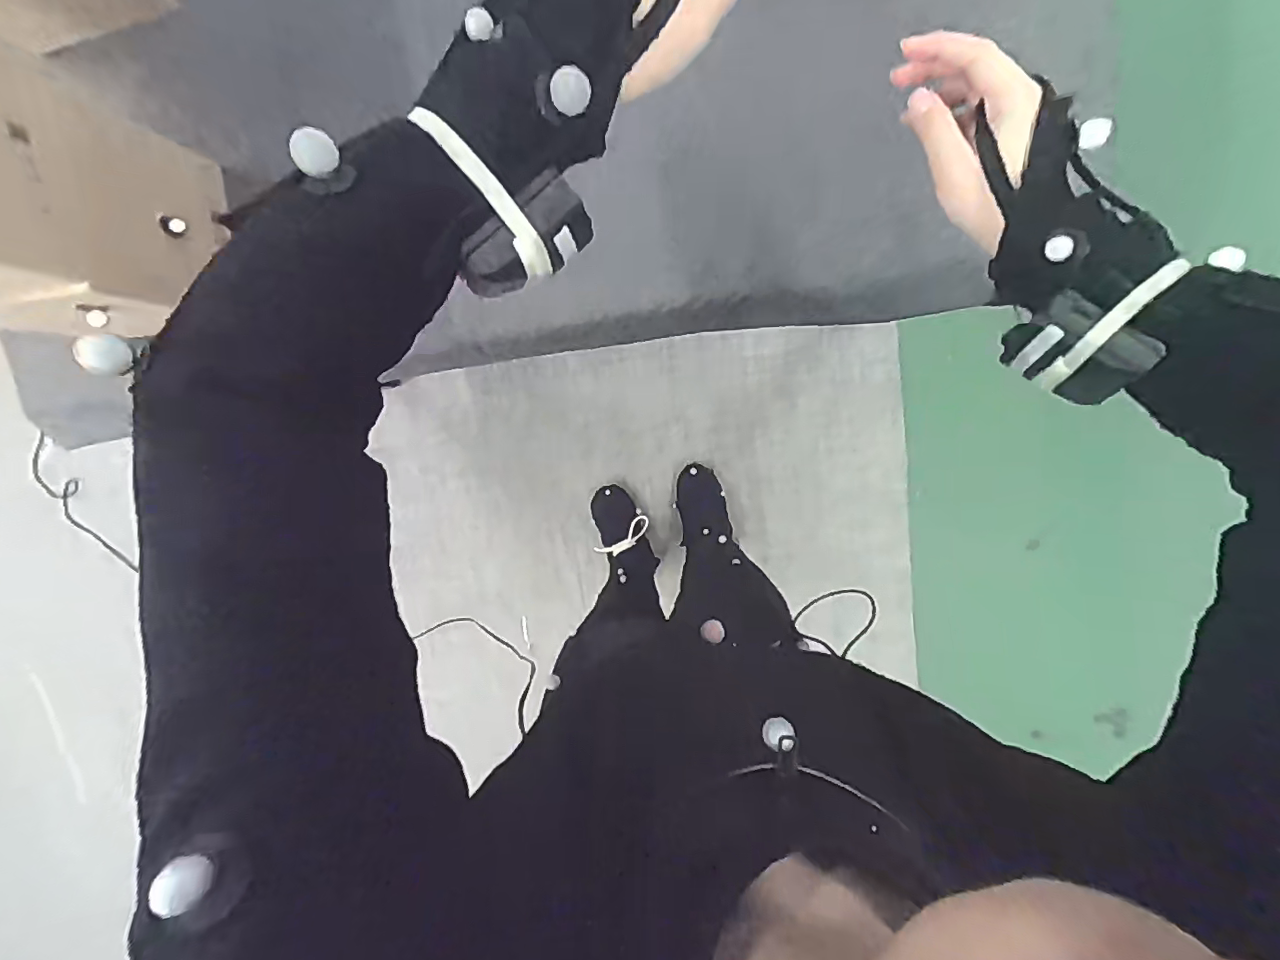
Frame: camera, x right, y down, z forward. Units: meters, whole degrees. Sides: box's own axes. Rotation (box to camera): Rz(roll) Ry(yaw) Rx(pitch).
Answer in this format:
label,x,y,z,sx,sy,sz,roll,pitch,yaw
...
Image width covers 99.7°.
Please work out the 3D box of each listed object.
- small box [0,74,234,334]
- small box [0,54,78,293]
label,x,y,z,sx,sy,sz,roll,pitch,yaw
small box,-0.531,-0.239,0.515,0.179,0.176,0.168,-5,97,6
small box,-0.549,-0.218,0.354,0.179,0.176,0.168,-9,98,7
